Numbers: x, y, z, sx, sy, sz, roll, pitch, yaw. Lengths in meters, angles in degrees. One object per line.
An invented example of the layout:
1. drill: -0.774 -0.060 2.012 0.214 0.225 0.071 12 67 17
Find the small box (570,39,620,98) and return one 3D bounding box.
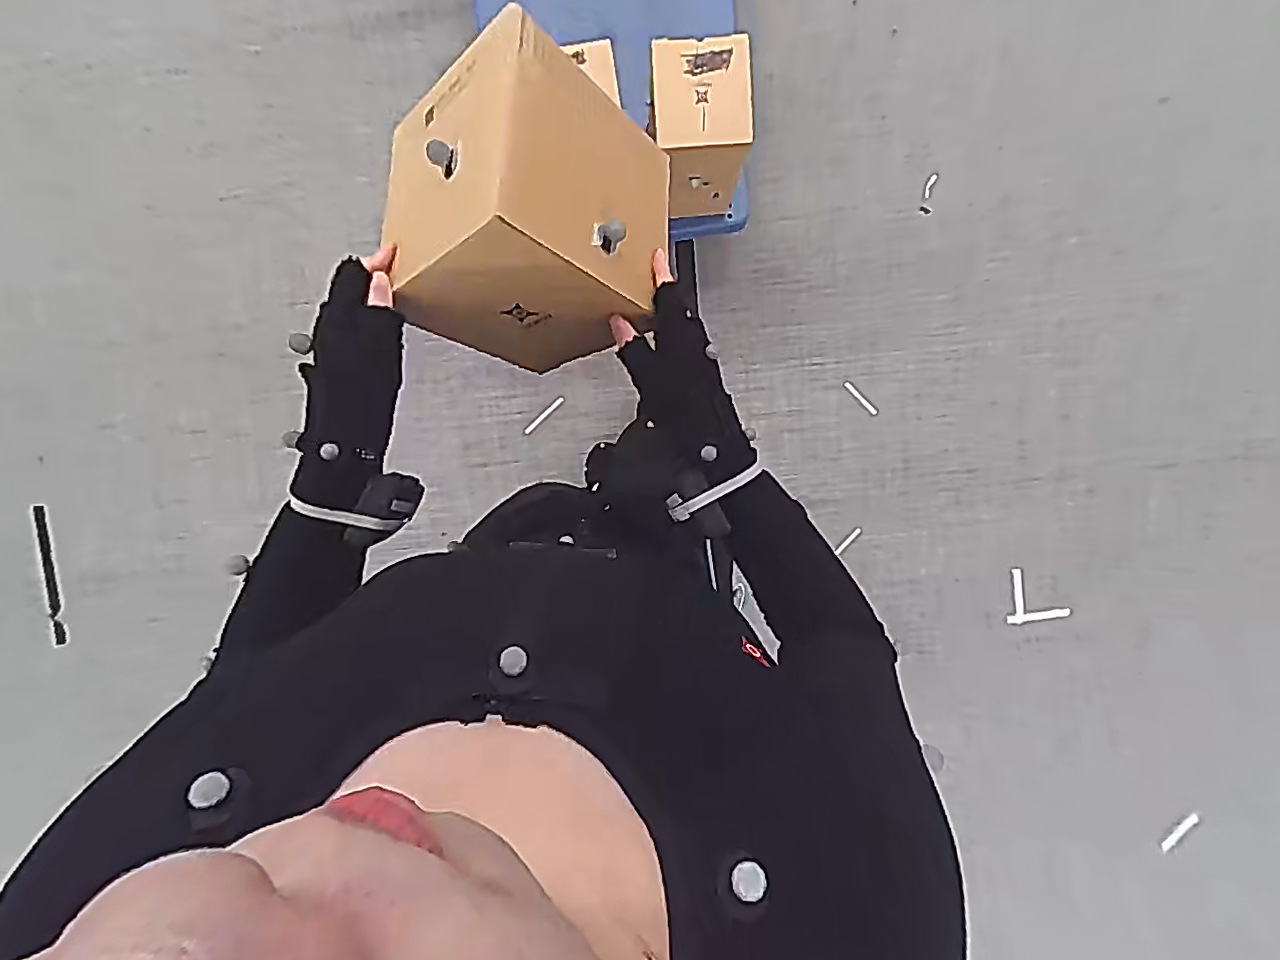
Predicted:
1. small box: -0.115 -0.646 0.987 0.168 0.176 0.179 -9 96 0

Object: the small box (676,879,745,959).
1. small box: 0.200 1.278 1.537 0.168 0.176 0.179 -10 96 2

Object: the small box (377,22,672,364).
1. small box: -0.090 -0.223 0.452 0.168 0.179 0.176 -9 75 39

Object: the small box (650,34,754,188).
1. small box: 0.107 -0.661 0.986 0.168 0.176 0.179 -4 96 0
